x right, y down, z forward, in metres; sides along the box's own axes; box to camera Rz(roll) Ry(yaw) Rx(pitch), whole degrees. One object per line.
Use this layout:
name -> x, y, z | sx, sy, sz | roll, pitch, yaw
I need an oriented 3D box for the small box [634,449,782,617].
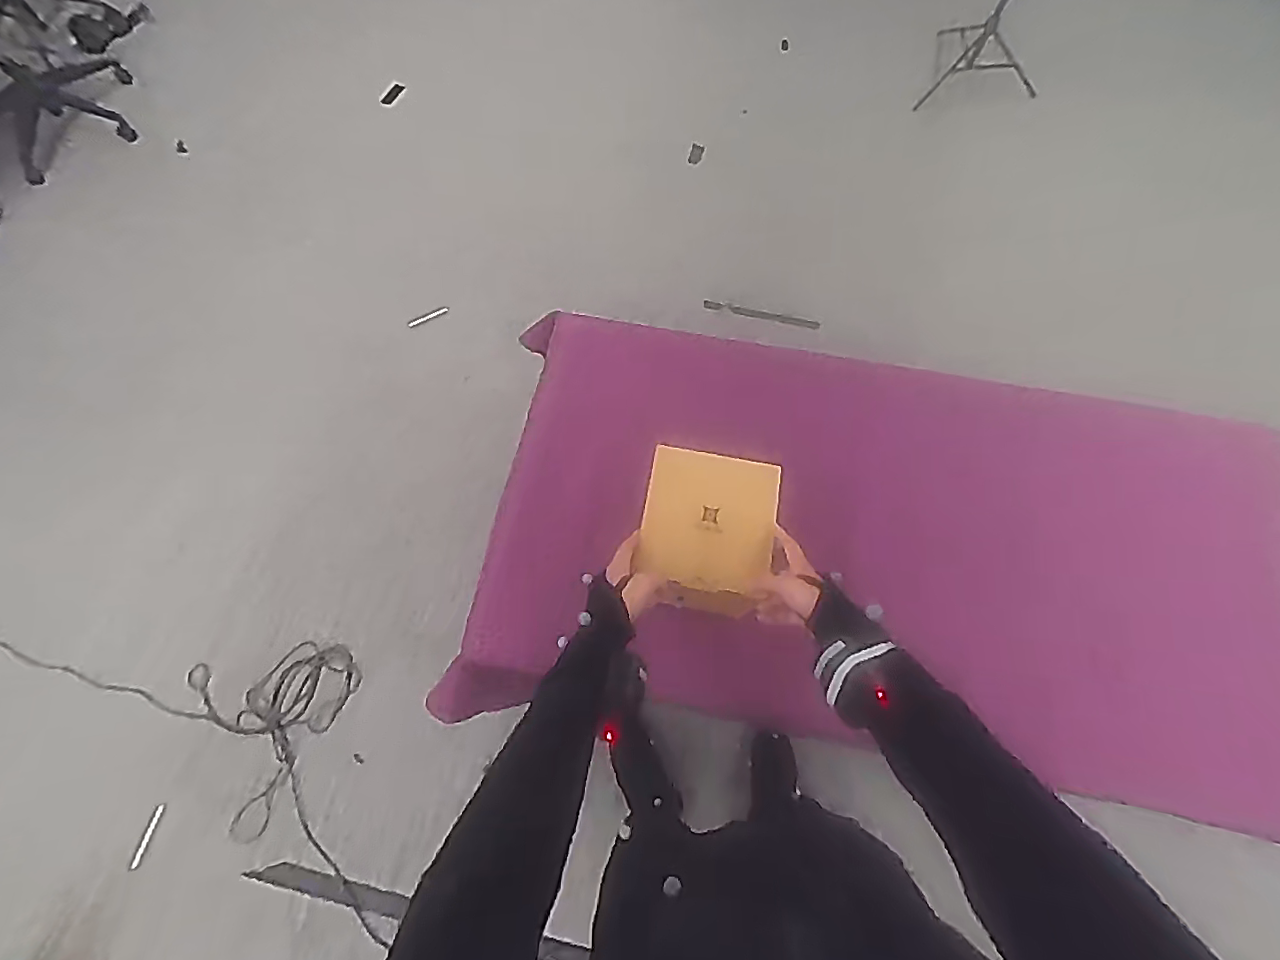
small box -> 0.085, 0.080, 0.744 | 0.168, 0.176, 0.179 | 10, 70, 2
